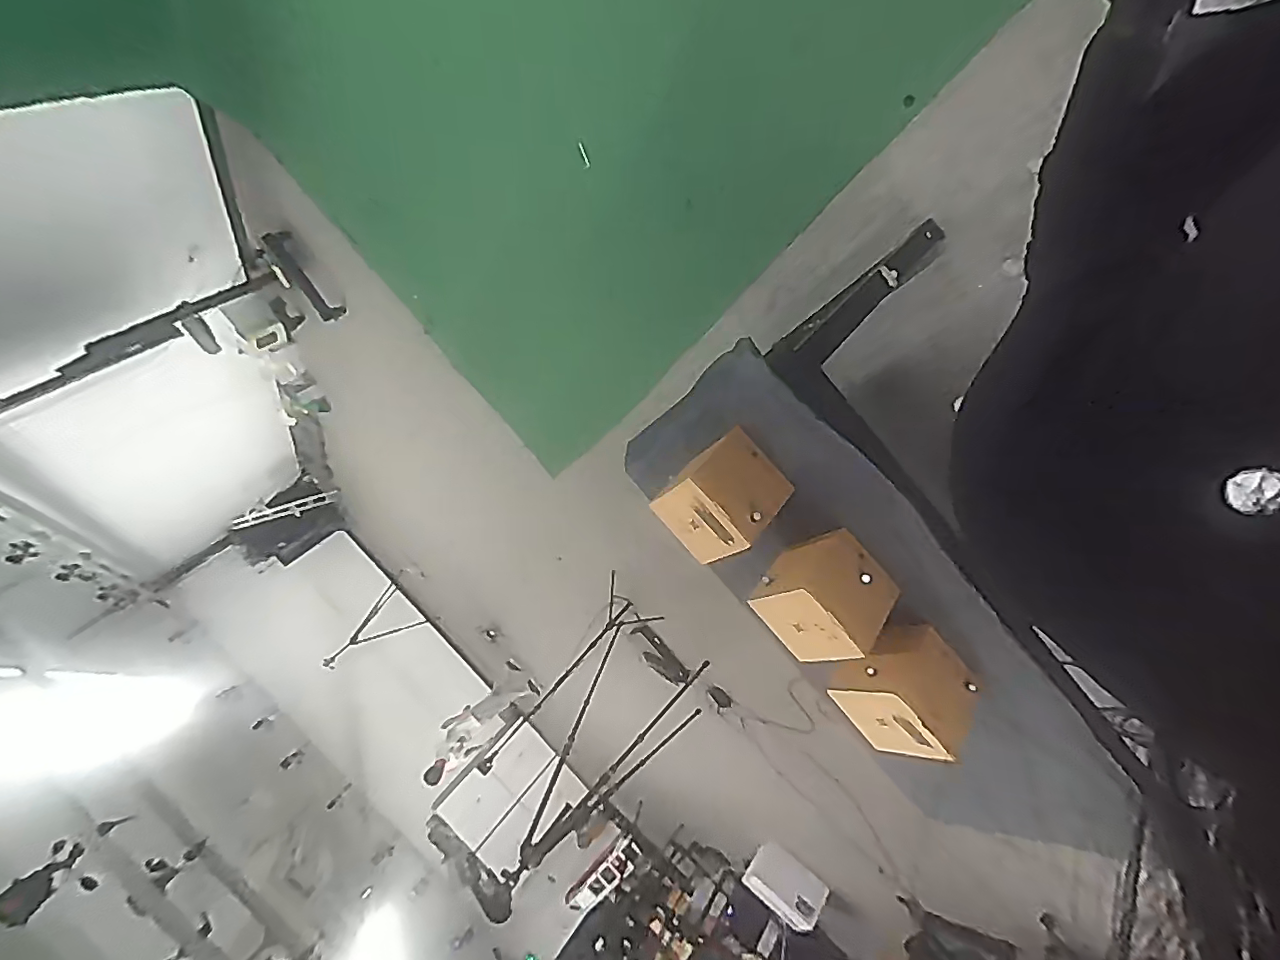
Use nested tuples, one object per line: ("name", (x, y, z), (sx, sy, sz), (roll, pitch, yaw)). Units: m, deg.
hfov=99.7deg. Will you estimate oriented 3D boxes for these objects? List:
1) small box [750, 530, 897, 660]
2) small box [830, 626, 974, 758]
("small box", (0.353, 0.222, 1.038), (0.168, 0.176, 0.179), (48, 148, -3))
("small box", (0.515, 0.403, 1.050), (0.168, 0.176, 0.179), (50, 148, -3))
